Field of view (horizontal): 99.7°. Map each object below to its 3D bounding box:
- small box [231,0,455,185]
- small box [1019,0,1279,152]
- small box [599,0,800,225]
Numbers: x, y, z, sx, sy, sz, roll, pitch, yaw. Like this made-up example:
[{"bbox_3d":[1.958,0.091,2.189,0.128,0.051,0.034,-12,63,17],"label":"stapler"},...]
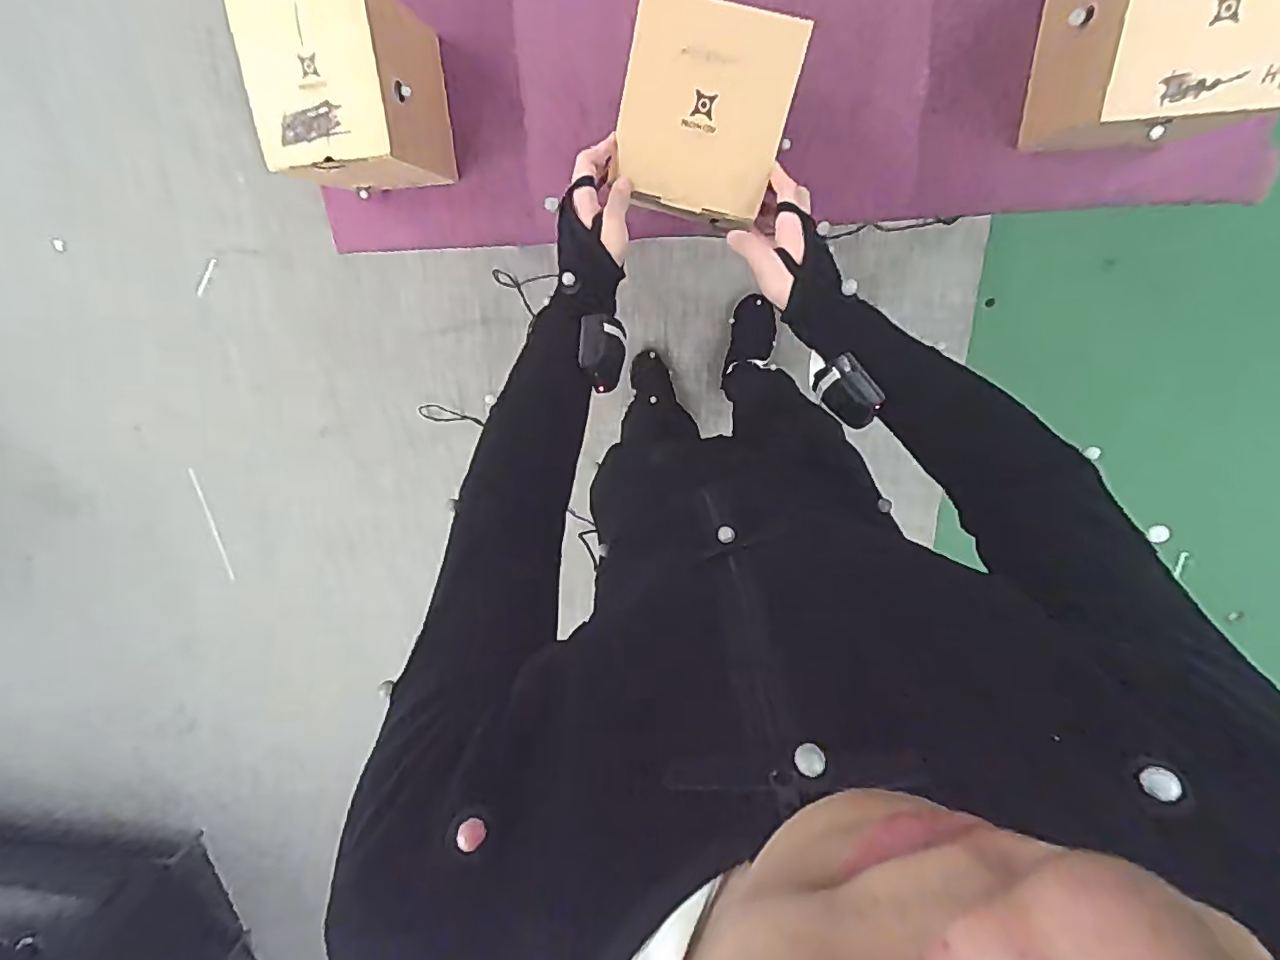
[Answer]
[{"bbox_3d":[-0.357,-0.485,0.689,0.168,0.176,0.179,0,110,10],"label":"small box"},{"bbox_3d":[0.515,-0.447,0.538,0.168,0.176,0.179,2,112,11],"label":"small box"},{"bbox_3d":[0.066,-0.403,0.616,0.168,0.176,0.179,17,115,2],"label":"small box"}]
